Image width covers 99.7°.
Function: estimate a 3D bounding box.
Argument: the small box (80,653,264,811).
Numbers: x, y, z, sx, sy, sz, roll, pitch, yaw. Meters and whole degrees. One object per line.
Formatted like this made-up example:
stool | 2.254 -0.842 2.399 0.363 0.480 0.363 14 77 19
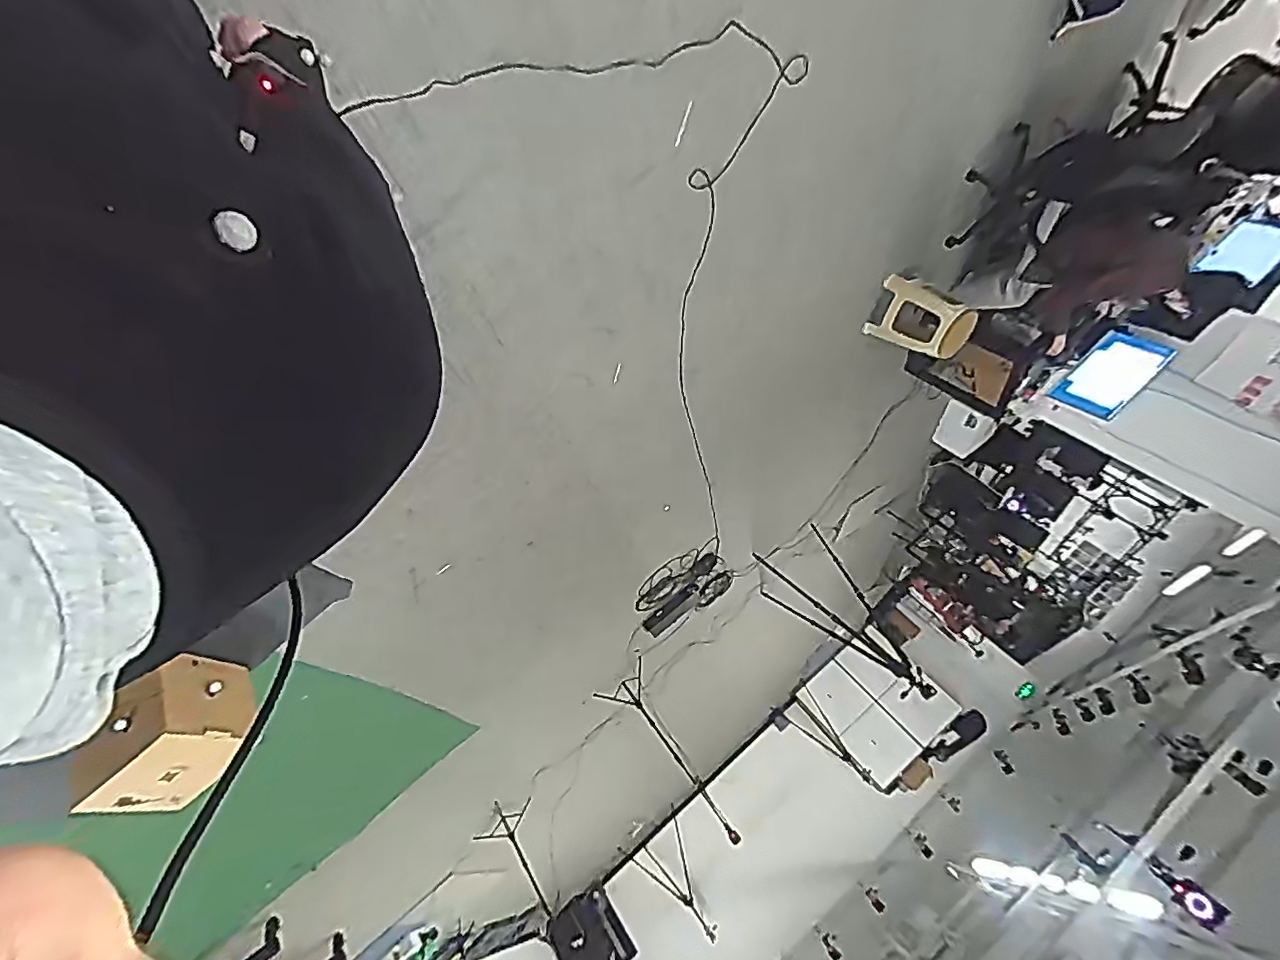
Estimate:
small box | -0.801 0.426 0.924 0.179 0.176 0.168 -43 146 -6
